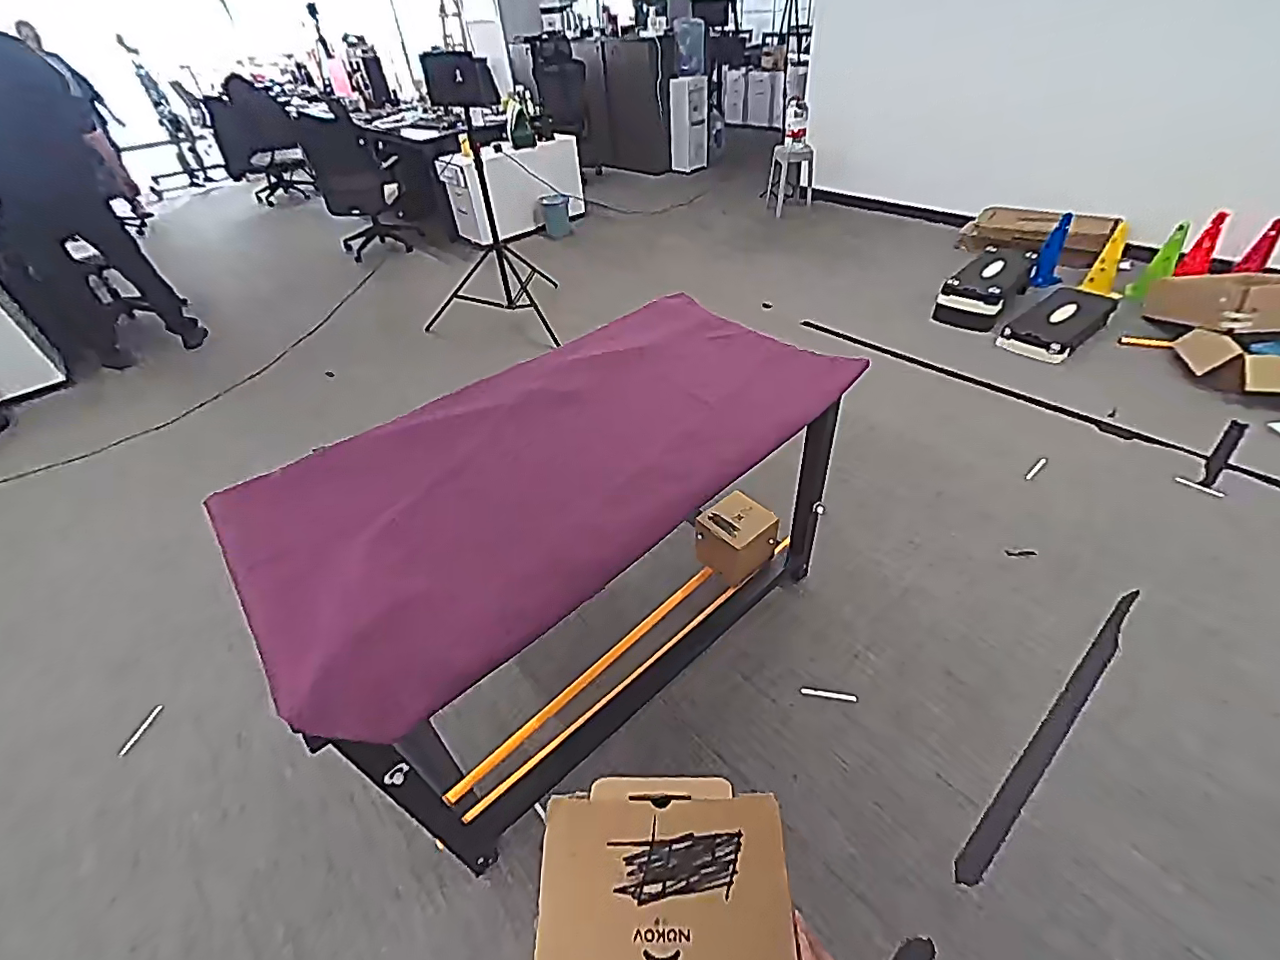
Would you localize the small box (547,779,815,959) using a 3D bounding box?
[{"bbox_3d":[0.031,0.332,0.396,0.168,0.176,0.179,-3,53,5],"label":"small box"}]
